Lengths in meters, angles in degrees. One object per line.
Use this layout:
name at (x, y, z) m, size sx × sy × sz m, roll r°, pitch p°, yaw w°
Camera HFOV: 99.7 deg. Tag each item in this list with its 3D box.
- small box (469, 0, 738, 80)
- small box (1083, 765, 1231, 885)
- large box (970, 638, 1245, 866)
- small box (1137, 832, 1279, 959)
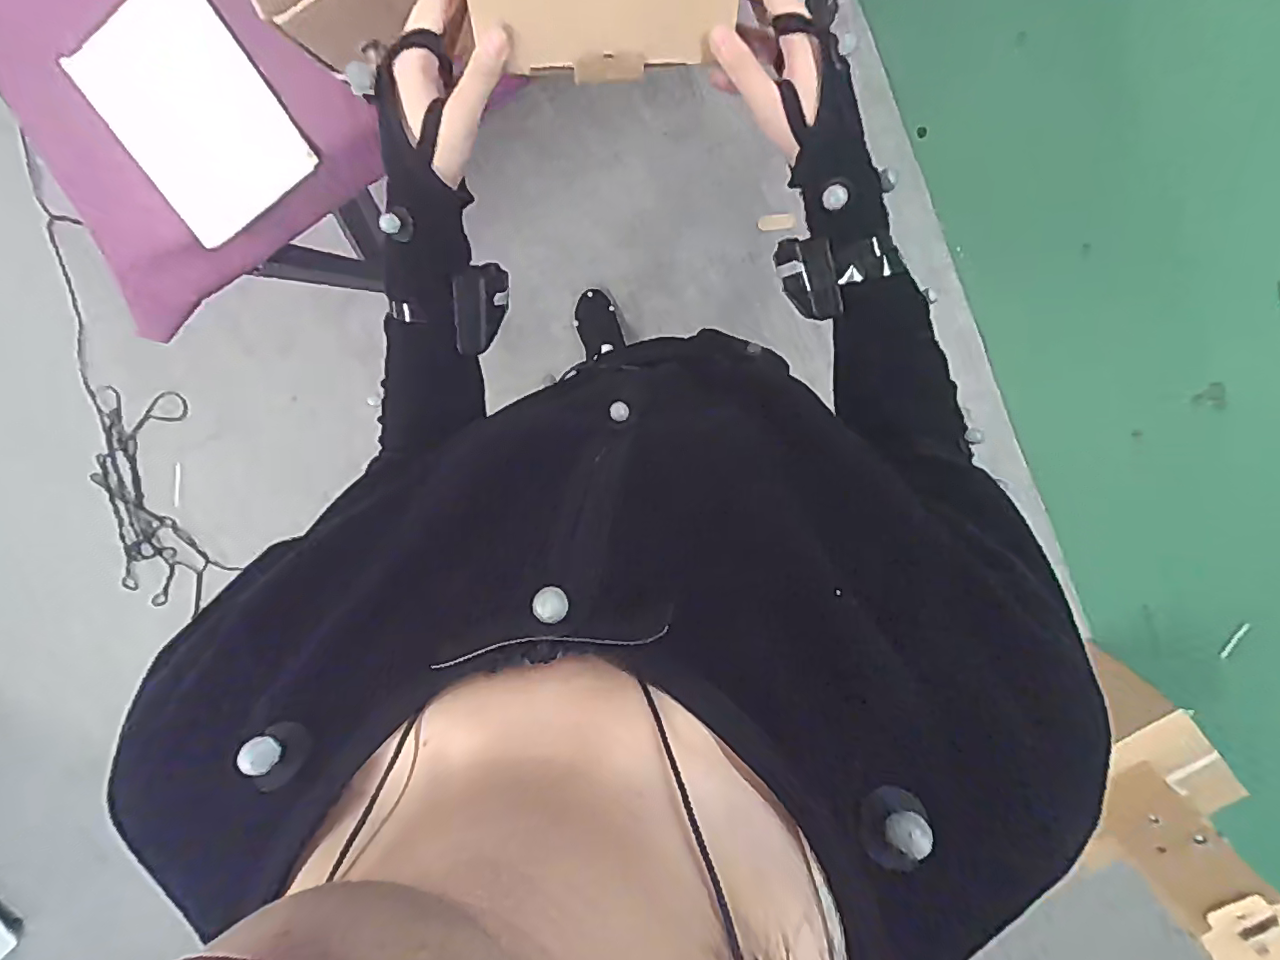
small box at (-0.031, -0.380, 0.340) m, size 0.168 × 0.176 × 0.179 m, roll -7°, pitch 138°, yaw -7°
small box at (1.186, 0.798, 1.237) m, size 0.179 × 0.176 × 0.168 m, roll -37°, pitch 98°, yaw 13°
large box at (1.224, 0.719, 1.467) m, size 0.408 × 0.320 × 0.320 m, roll -40°, pitch 99°, yaw 12°
small box at (1.167, 0.848, 1.082) m, size 0.168 × 0.176 × 0.179 m, roll -35°, pitch 98°, yaw 12°
